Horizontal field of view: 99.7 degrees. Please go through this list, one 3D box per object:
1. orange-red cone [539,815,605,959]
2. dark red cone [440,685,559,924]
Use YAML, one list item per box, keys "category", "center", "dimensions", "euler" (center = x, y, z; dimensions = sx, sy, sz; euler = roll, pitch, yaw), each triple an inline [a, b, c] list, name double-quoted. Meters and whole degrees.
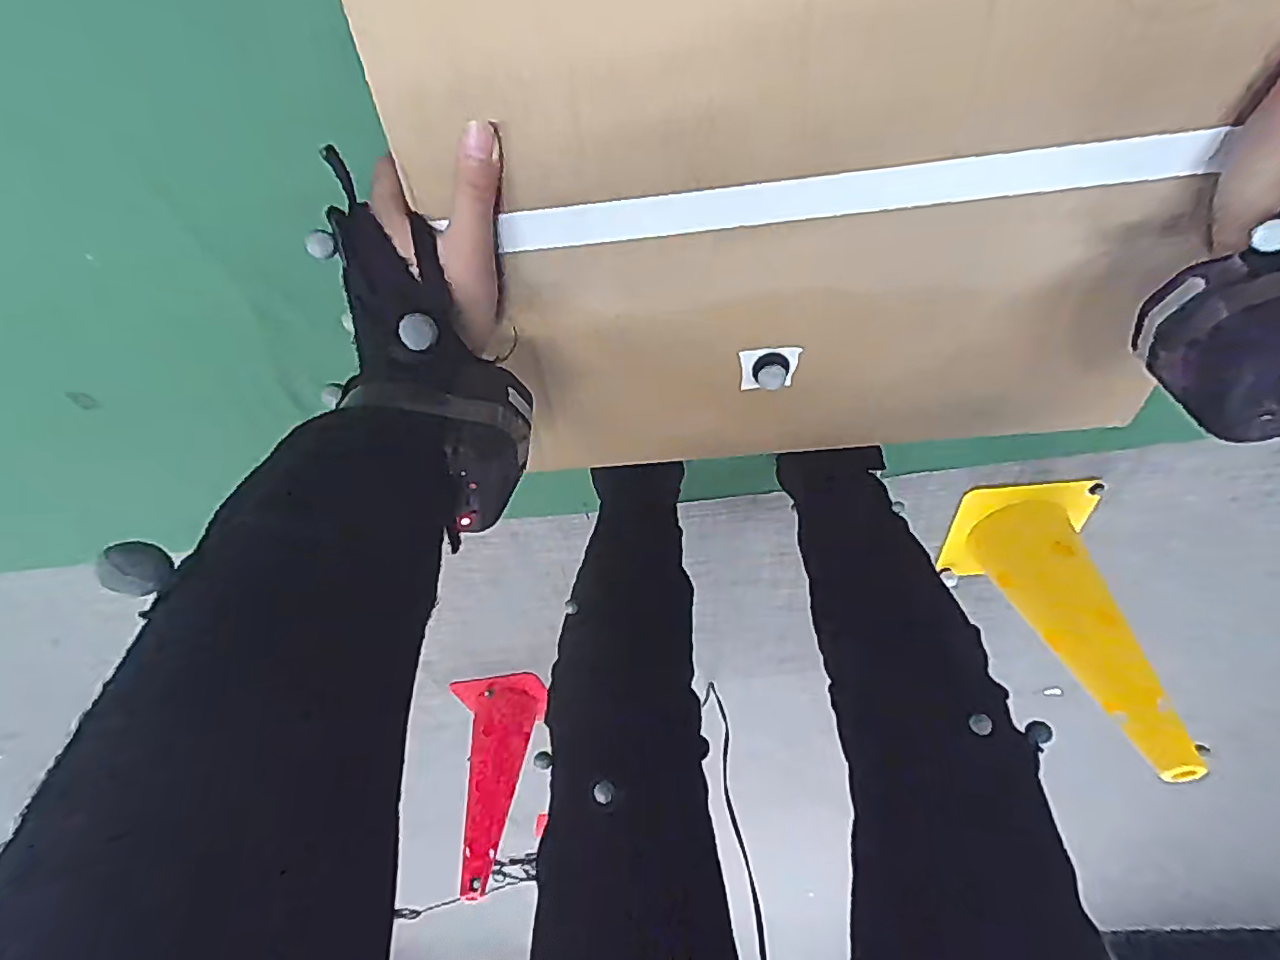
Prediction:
- category: "orange-red cone"
  center: [-0.225, 1.221, 1.593]
  dimensions: [0.199, 0.360, 0.198]
  euler: [10, 129, -5]
- category: "dark red cone"
  center: [-0.298, 0.602, 1.036]
  dimensions: [0.202, 0.394, 0.201]
  euler: [-12, 126, 11]
